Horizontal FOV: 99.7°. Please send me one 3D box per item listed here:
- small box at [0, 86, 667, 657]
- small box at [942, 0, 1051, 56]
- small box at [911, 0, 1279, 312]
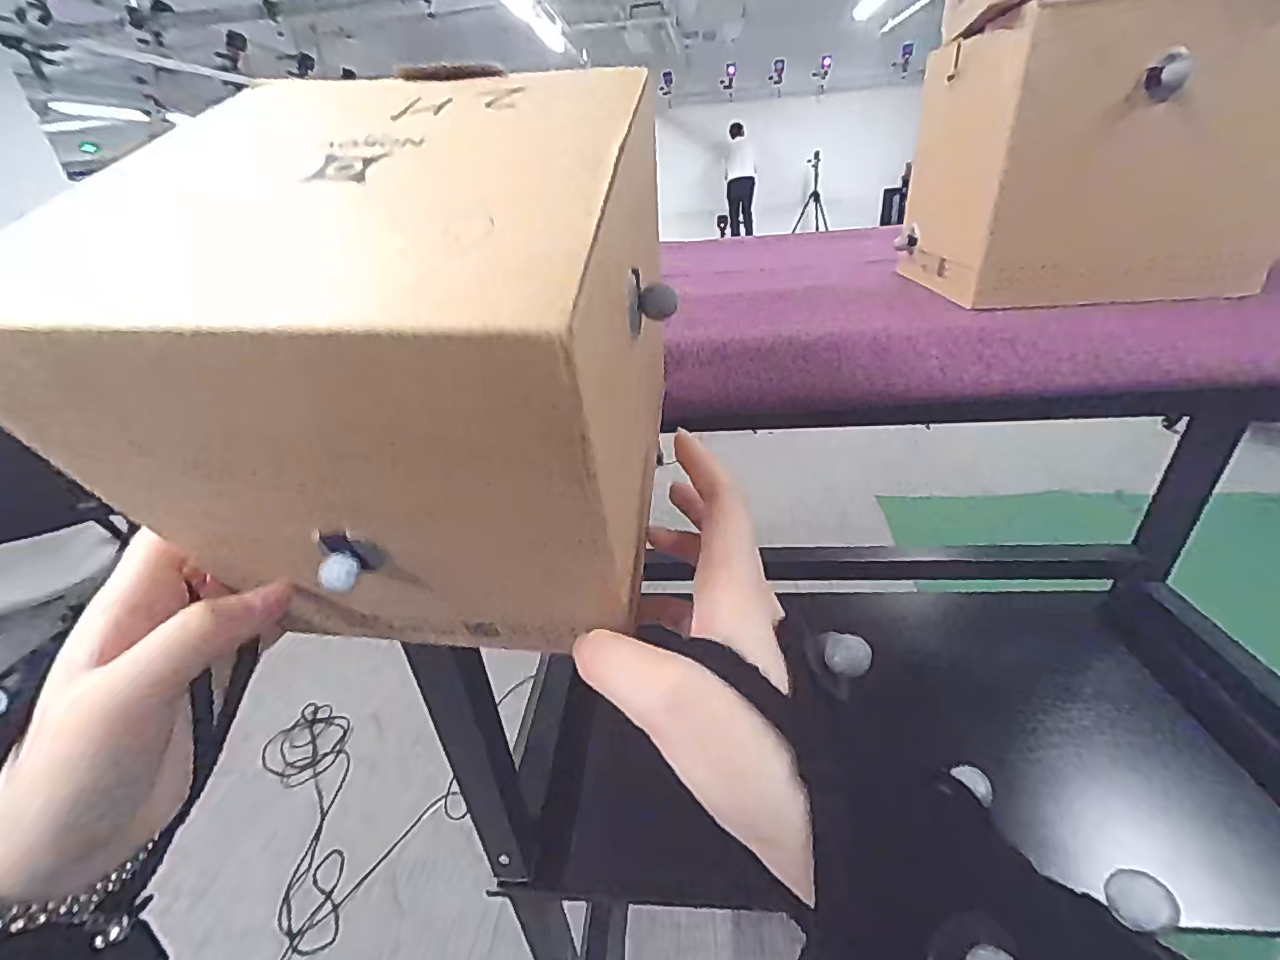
[{"bbox_3d":[-0.077,-0.040,0.232,0.168,0.176,0.179,3,51,6],"label":"small box"},{"bbox_3d":[0.297,-0.363,0.309,0.179,0.176,0.168,3,30,16],"label":"small box"},{"bbox_3d":[0.314,-0.222,0.388,0.179,0.176,0.168,0,30,7],"label":"small box"}]
